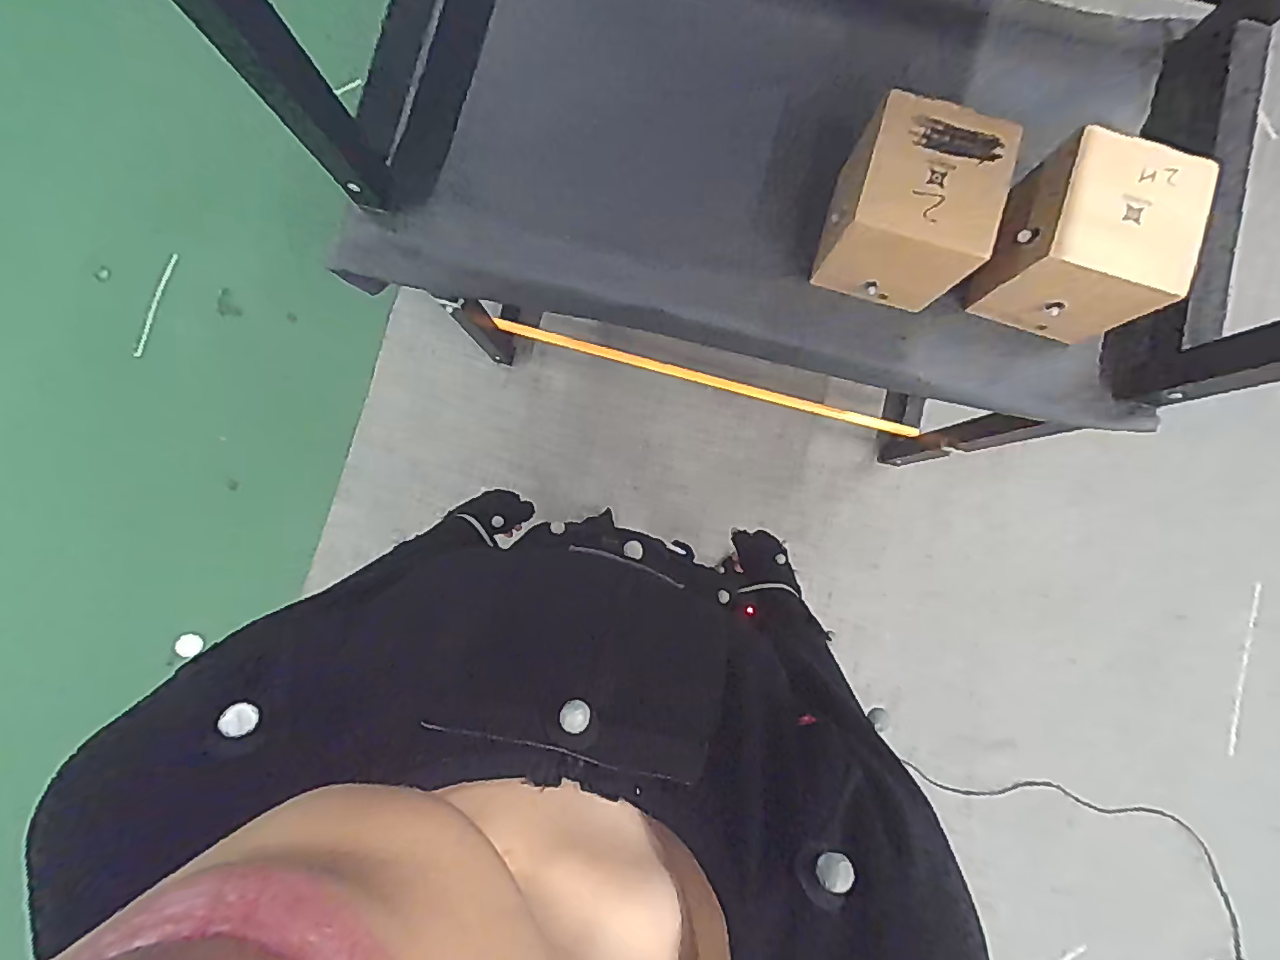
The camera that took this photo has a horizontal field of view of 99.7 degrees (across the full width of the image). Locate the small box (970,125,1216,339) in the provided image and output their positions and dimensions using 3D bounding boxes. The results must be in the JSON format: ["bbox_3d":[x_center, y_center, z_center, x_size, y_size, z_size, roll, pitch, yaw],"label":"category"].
[{"bbox_3d":[0.573,-0.309,0.711,0.168,0.176,0.179,18,85,1],"label":"small box"}]
